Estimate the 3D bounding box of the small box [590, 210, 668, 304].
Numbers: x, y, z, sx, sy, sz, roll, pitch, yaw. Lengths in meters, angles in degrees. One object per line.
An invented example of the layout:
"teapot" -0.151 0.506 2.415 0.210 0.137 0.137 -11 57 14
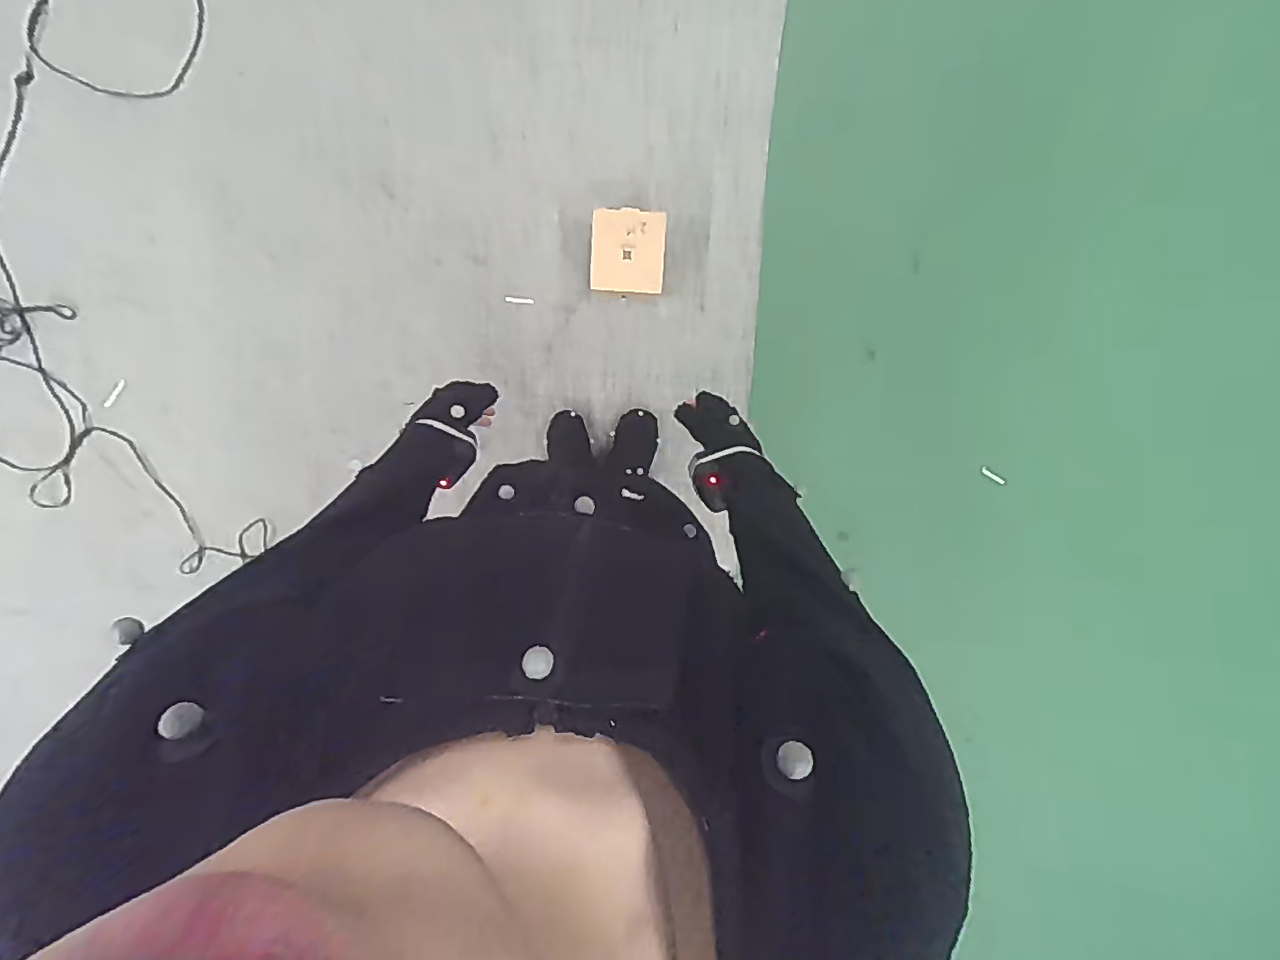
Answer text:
"small box" -0.026 -0.519 1.283 0.168 0.176 0.179 3 101 -2
